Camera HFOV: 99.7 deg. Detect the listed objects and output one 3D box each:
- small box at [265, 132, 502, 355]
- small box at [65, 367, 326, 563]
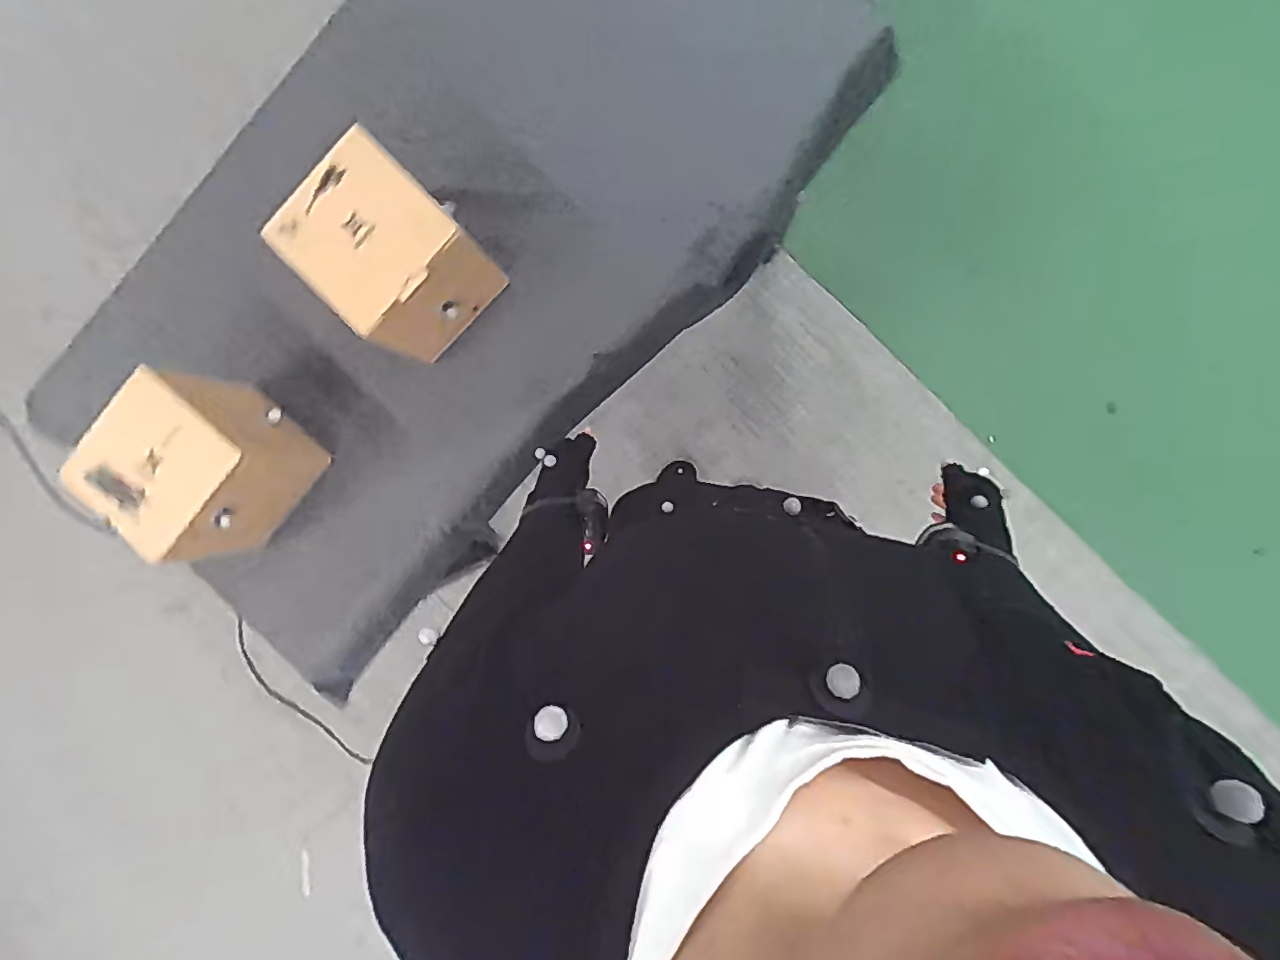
[{"bbox_3d":[-0.307,-0.279,0.690,0.179,0.176,0.168,45,94,2],"label":"small box"},{"bbox_3d":[-0.568,-0.018,0.717,0.168,0.176,0.179,41,93,2],"label":"small box"}]
